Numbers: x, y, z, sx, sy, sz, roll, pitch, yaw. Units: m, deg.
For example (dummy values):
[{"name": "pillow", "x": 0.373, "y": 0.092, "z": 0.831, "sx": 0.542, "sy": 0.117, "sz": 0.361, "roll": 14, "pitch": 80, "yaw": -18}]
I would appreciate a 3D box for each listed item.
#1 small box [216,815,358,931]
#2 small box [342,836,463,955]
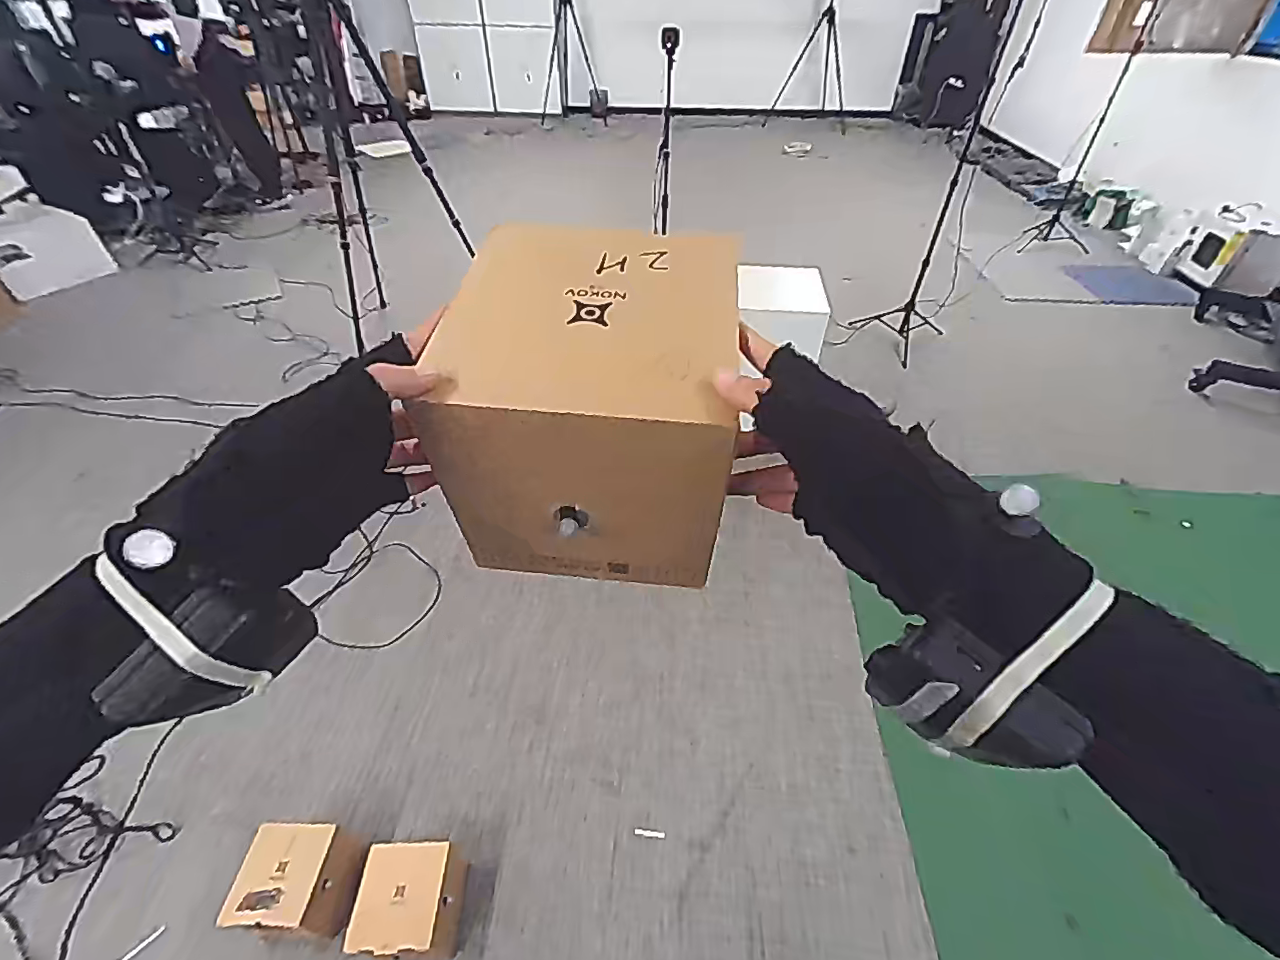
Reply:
[{"name": "small box", "x": -0.732, "y": 0.838, "z": 1.149, "sx": 0.168, "sy": 0.176, "sz": 0.179, "roll": 1, "pitch": 43, "yaw": 1}, {"name": "small box", "x": -0.480, "y": 0.865, "z": 1.126, "sx": 0.168, "sy": 0.176, "sz": 0.179, "roll": -1, "pitch": 45, "yaw": -1}]
